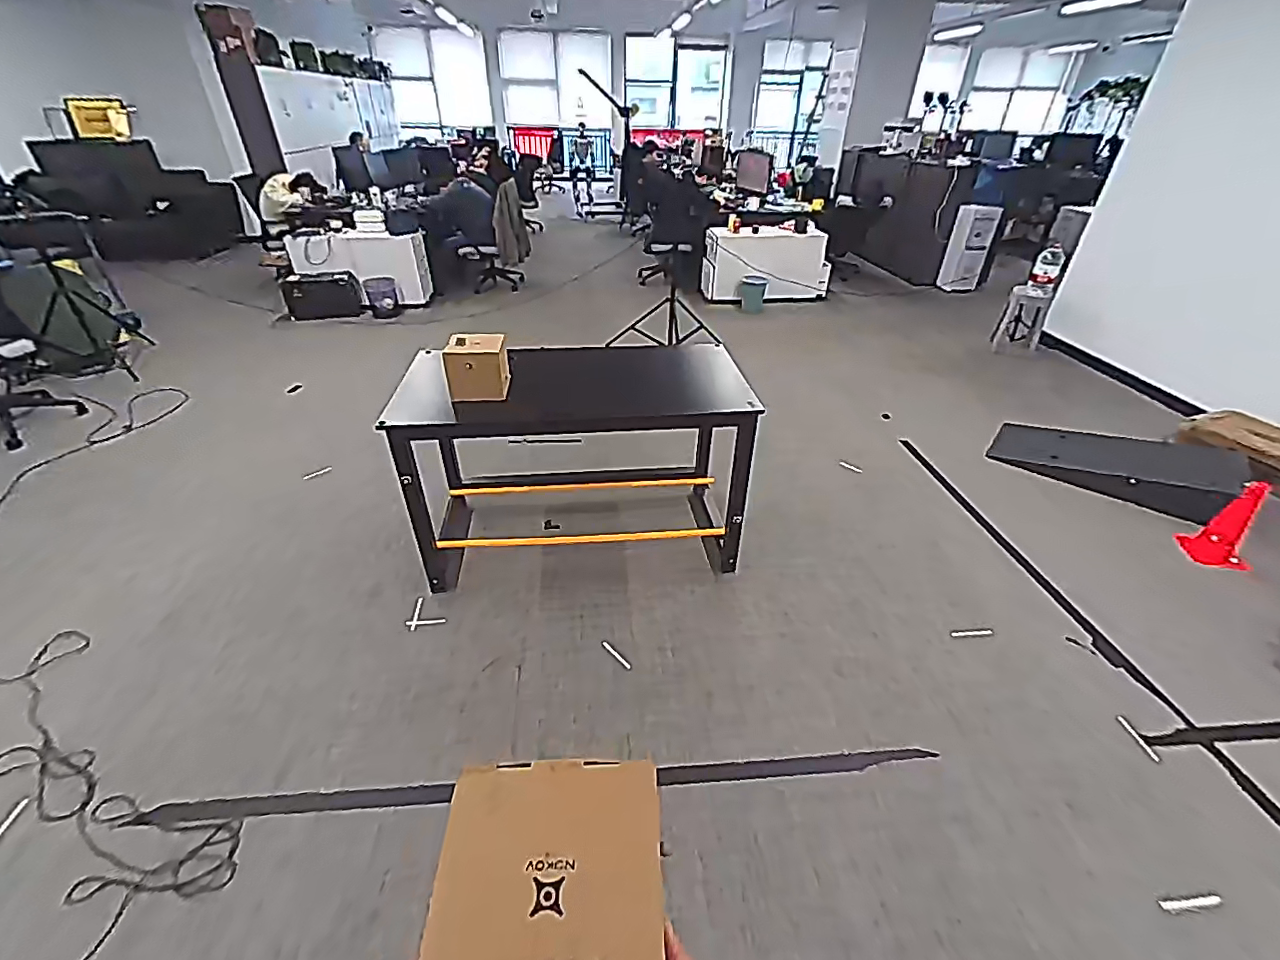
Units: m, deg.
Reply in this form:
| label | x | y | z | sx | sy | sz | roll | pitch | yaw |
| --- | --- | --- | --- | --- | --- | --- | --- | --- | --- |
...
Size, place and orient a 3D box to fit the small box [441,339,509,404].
| label | x | y | z | sx | sy | sz | roll | pitch | yaw |
| --- | --- | --- | --- | --- | --- | --- | --- | --- | --- |
| small box | -0.542 | -0.360 | 1.798 | 0.179 | 0.176 | 0.168 | -2 | 34 | -5 |

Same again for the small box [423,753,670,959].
| label | x | y | z | sx | sy | sz | roll | pitch | yaw |
| --- | --- | --- | --- | --- | --- | --- | --- | --- | --- |
| small box | -0.065 | 0.351 | 0.443 | 0.168 | 0.176 | 0.179 | -1 | 40 | -2 |
